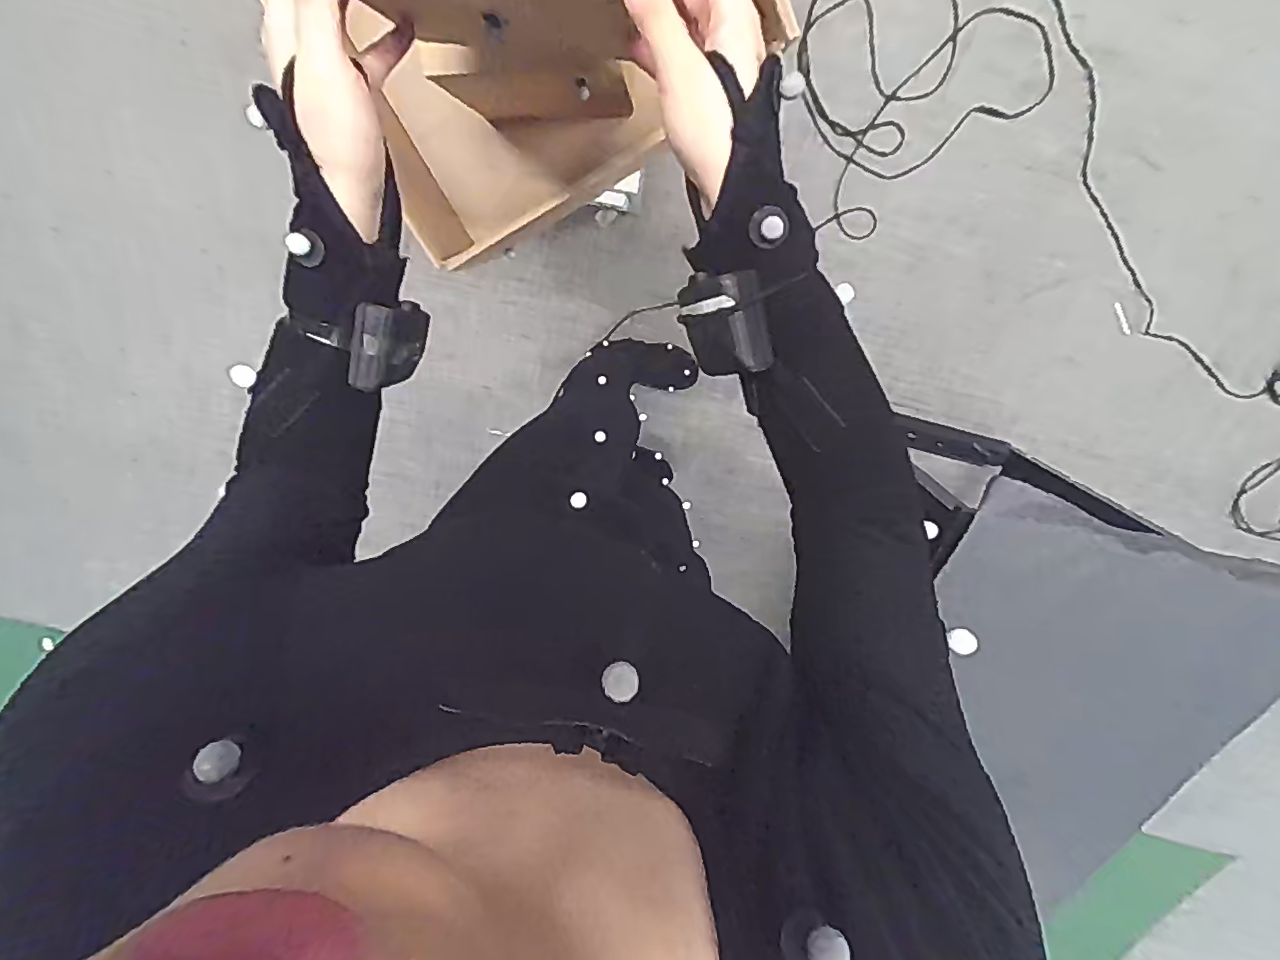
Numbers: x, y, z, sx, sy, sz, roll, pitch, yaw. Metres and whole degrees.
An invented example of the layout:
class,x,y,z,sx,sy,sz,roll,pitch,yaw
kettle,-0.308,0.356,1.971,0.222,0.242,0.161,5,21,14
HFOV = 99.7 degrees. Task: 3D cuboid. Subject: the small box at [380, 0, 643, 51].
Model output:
class,x,y,z,sx,sy,sz,roll,pitch,yaw
small box,-0.079,-0.374,0.314,0.179,0.176,0.168,4,117,-1
